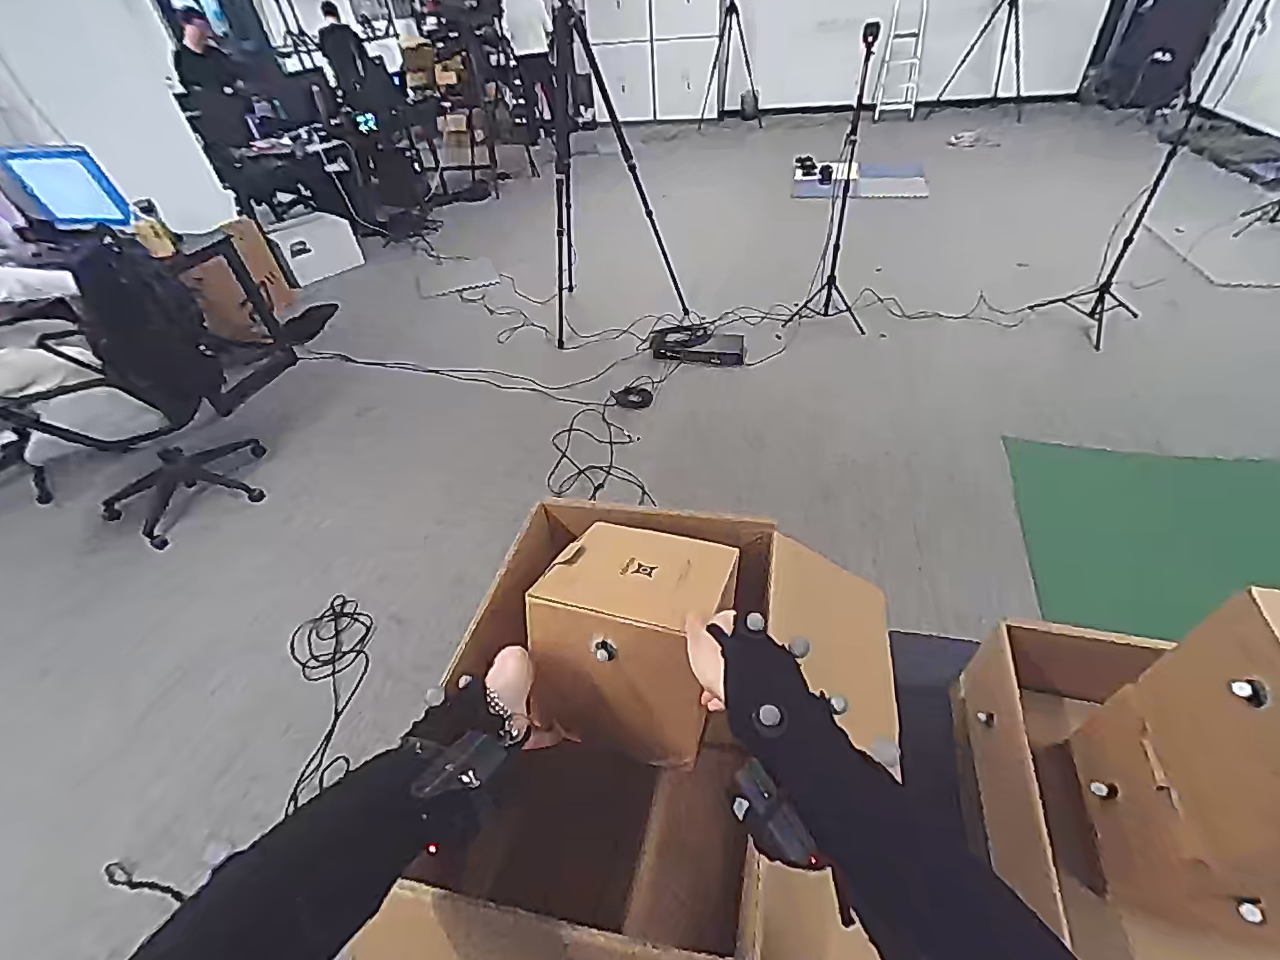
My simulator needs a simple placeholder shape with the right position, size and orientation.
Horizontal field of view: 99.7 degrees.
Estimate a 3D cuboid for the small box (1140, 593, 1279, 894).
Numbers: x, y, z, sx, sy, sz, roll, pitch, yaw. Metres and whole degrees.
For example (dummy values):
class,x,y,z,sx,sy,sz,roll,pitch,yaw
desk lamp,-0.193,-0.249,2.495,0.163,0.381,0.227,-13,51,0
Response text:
class,x,y,z,sx,sy,sz,roll,pitch,yaw
small box,0.562,0.222,0.434,0.168,0.176,0.179,7,45,15
